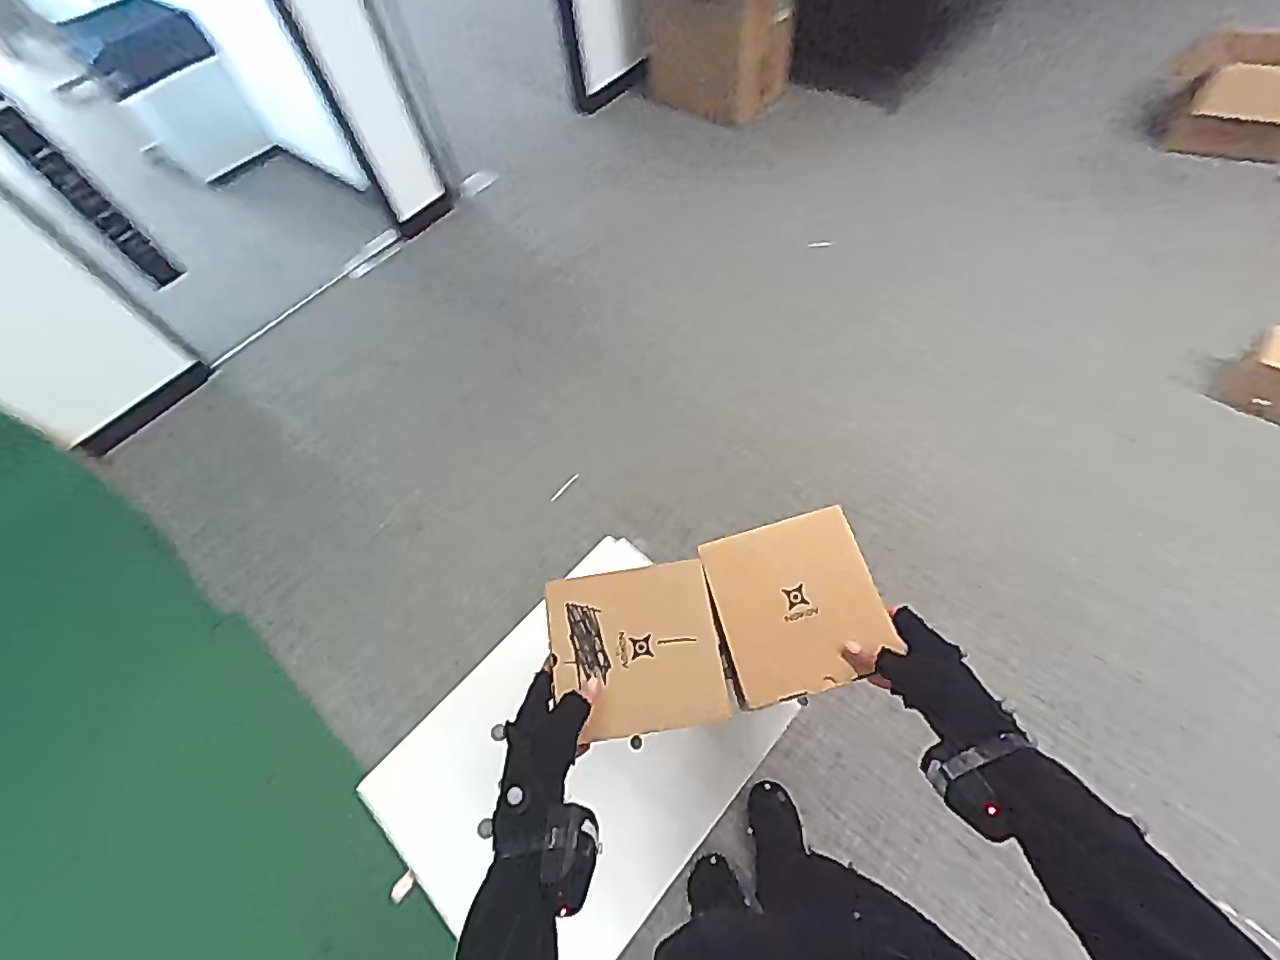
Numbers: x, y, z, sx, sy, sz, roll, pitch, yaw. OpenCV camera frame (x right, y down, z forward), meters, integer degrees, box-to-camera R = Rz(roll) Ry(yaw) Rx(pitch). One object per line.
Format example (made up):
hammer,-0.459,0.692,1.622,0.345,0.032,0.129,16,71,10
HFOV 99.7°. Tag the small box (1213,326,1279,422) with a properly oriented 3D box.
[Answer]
small box,1.818,-0.302,1.553,0.168,0.176,0.179,32,68,23
